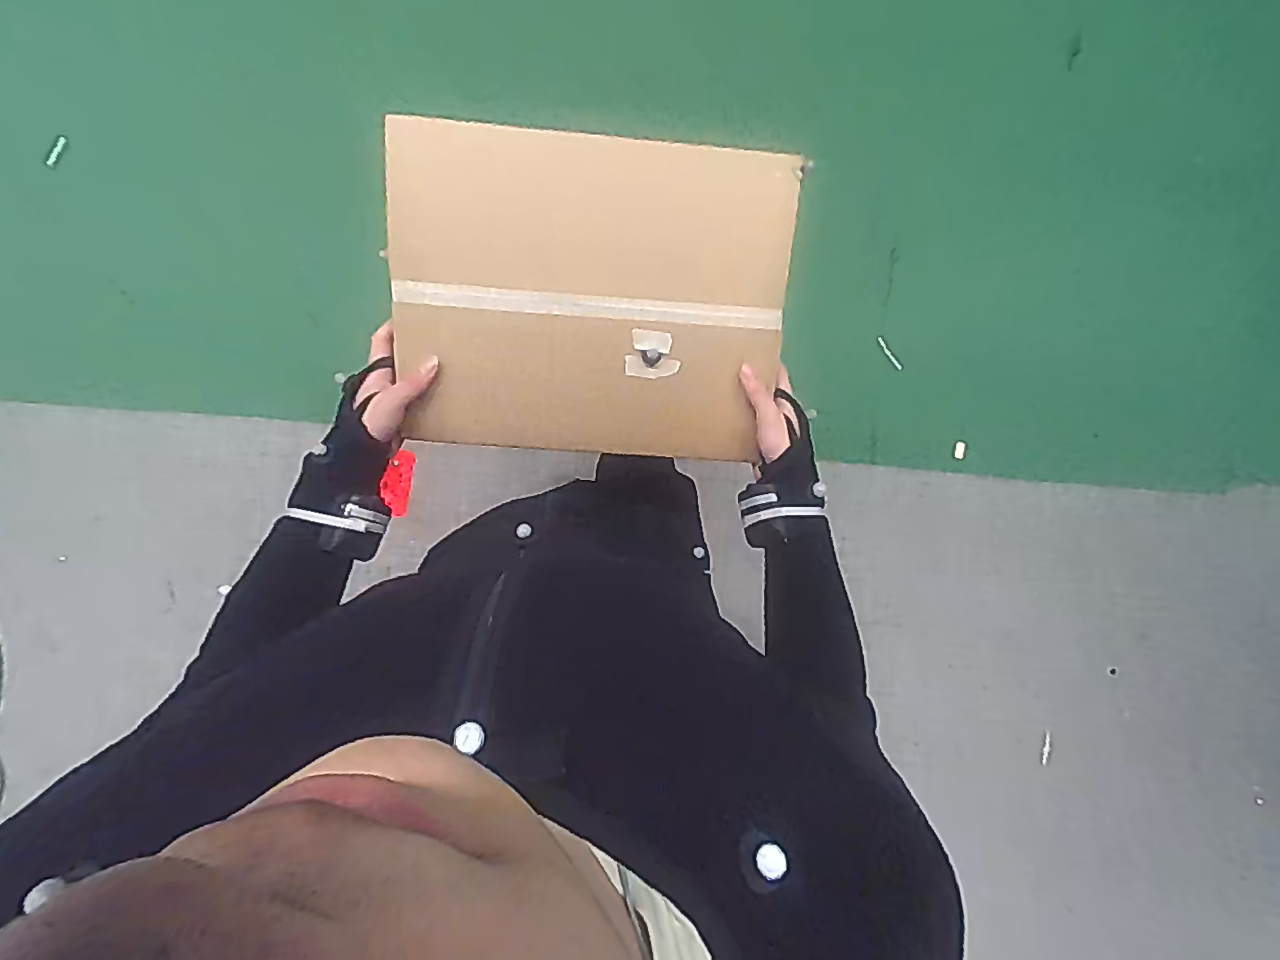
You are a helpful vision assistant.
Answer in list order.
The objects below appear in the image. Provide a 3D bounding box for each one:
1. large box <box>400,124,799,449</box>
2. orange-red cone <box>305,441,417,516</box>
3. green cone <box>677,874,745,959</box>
[{"bbox_3d":[-0.053,-0.228,0.716,0.408,0.320,0.320,3,106,-4],"label":"large box"},{"bbox_3d":[-0.757,0.008,1.407,0.199,0.360,0.198,12,93,-3],"label":"orange-red cone"},{"bbox_3d":[0.245,1.398,1.590,0.200,0.368,0.202,10,93,-5],"label":"green cone"}]
